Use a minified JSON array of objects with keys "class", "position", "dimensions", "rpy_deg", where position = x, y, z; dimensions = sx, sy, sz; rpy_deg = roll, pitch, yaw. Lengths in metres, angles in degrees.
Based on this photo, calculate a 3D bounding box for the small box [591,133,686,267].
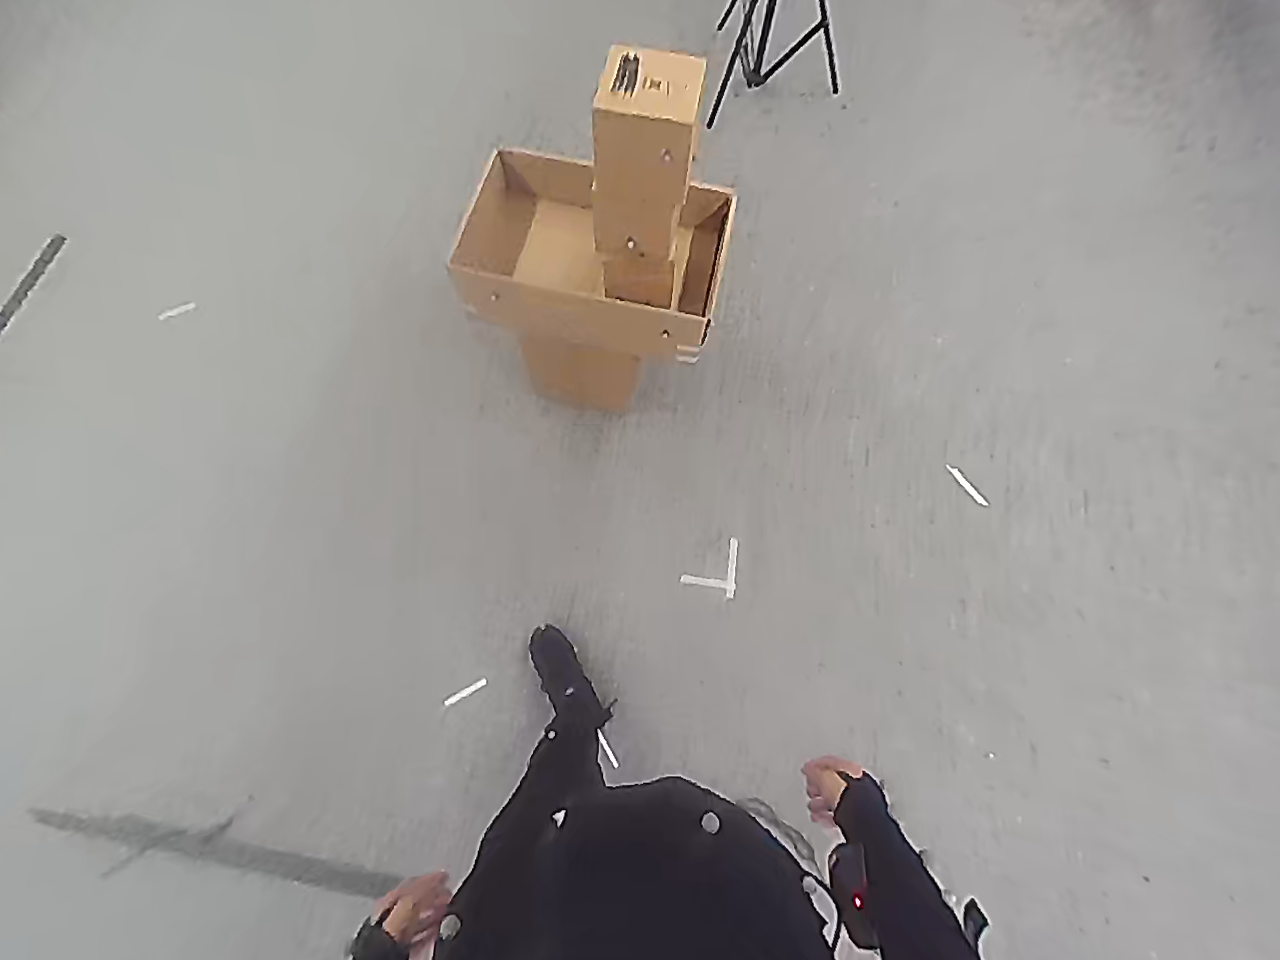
[{"class":"small box","position":[-0.003,-0.590,1.151],"dimensions":[0.168,0.176,0.179],"rpy_deg":[10,70,3]}]
